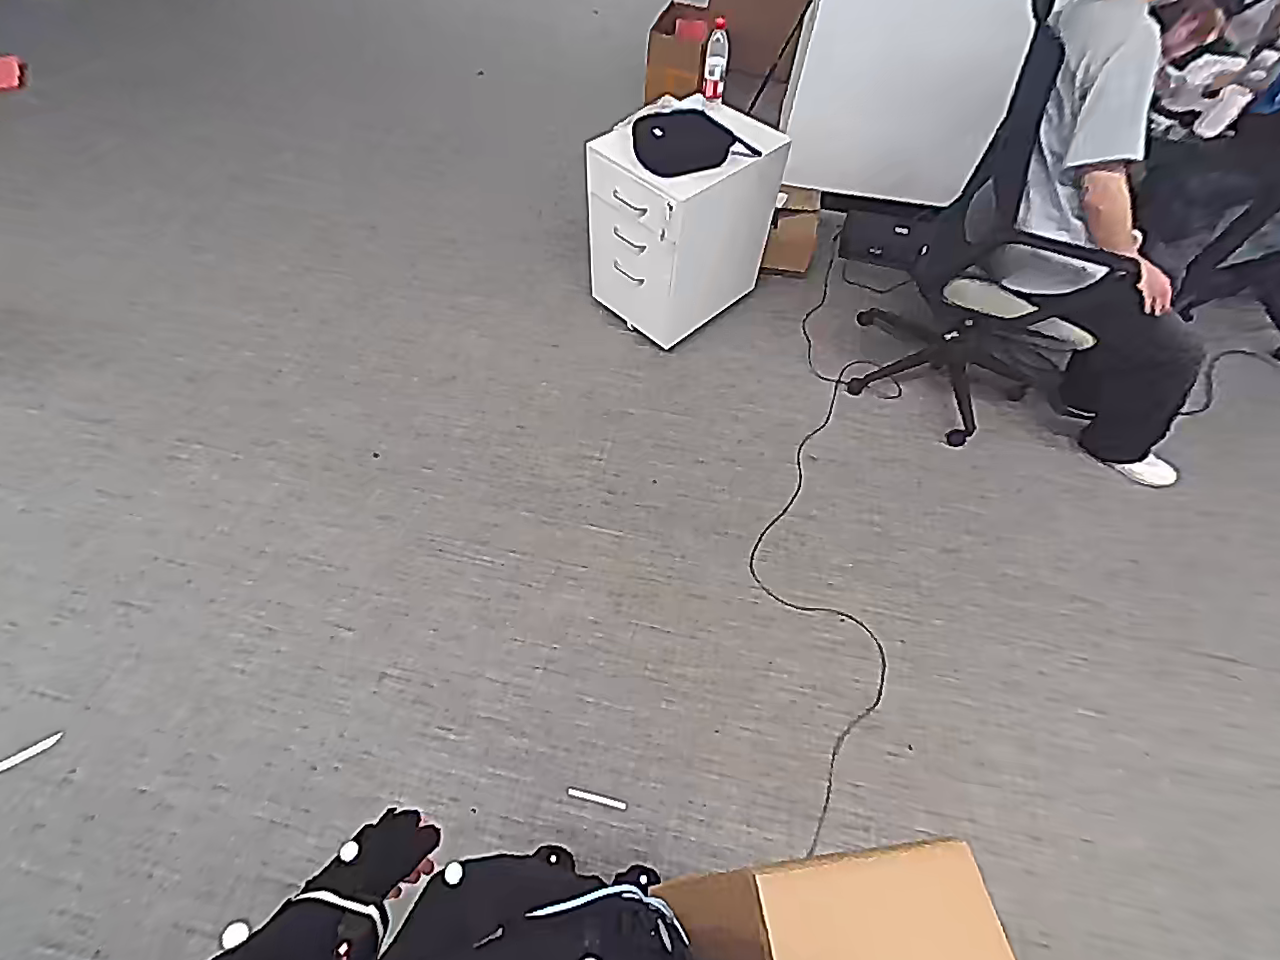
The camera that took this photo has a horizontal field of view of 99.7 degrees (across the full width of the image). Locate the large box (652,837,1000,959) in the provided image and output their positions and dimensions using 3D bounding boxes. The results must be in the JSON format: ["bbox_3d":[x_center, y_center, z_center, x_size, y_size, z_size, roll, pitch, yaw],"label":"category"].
[{"bbox_3d":[0.236,0.699,0.719,0.320,0.408,0.320,4,51,-16],"label":"large box"}]
